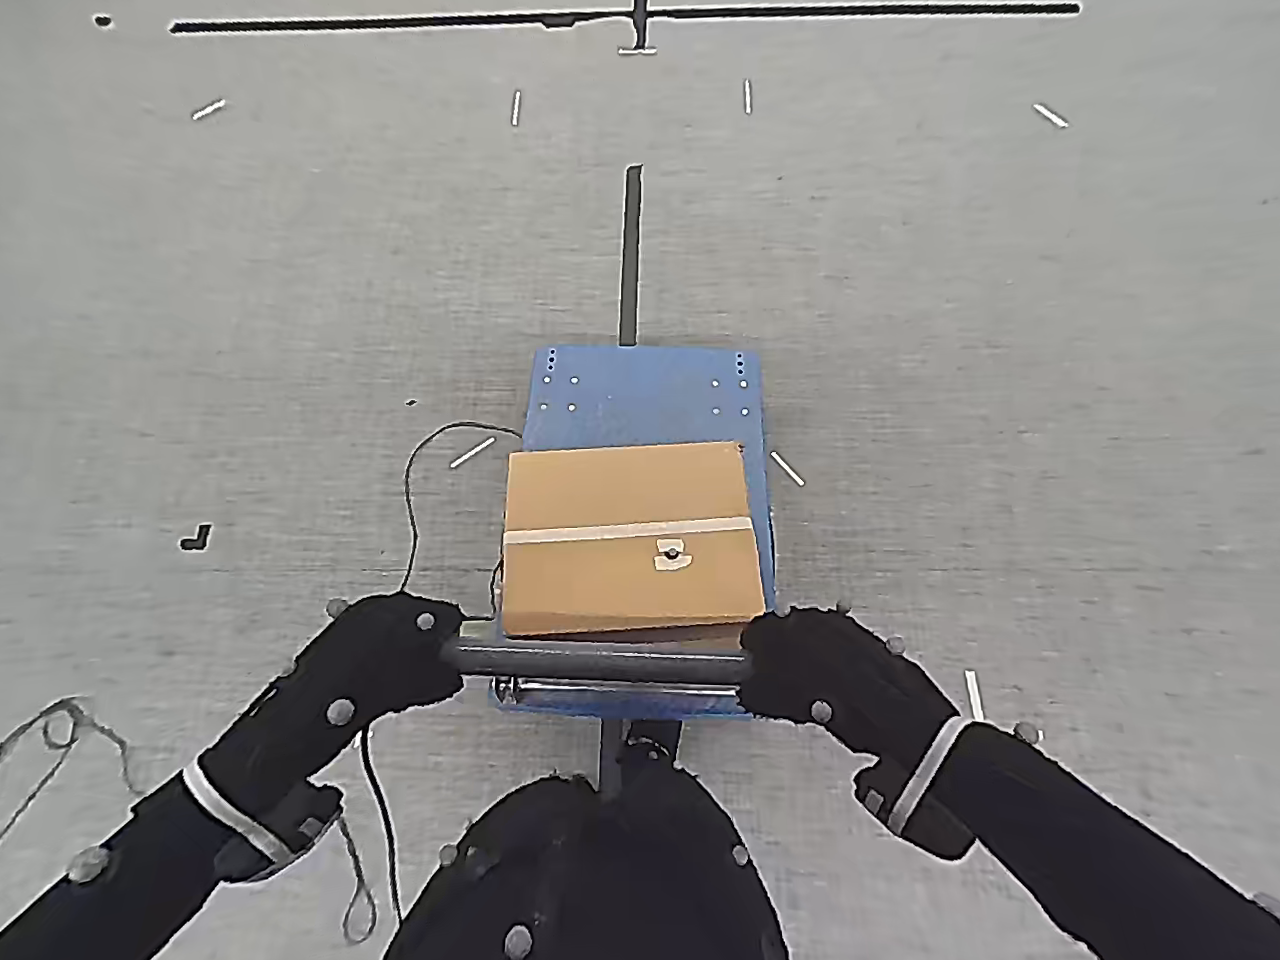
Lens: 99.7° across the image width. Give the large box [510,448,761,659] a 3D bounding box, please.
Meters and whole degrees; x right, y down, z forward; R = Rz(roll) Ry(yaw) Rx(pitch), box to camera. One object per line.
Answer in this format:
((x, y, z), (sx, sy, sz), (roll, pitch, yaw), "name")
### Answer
((-0.017, 0.154, 1.038), (0.408, 0.320, 0.320), (-3, 66, -2), "large box")
